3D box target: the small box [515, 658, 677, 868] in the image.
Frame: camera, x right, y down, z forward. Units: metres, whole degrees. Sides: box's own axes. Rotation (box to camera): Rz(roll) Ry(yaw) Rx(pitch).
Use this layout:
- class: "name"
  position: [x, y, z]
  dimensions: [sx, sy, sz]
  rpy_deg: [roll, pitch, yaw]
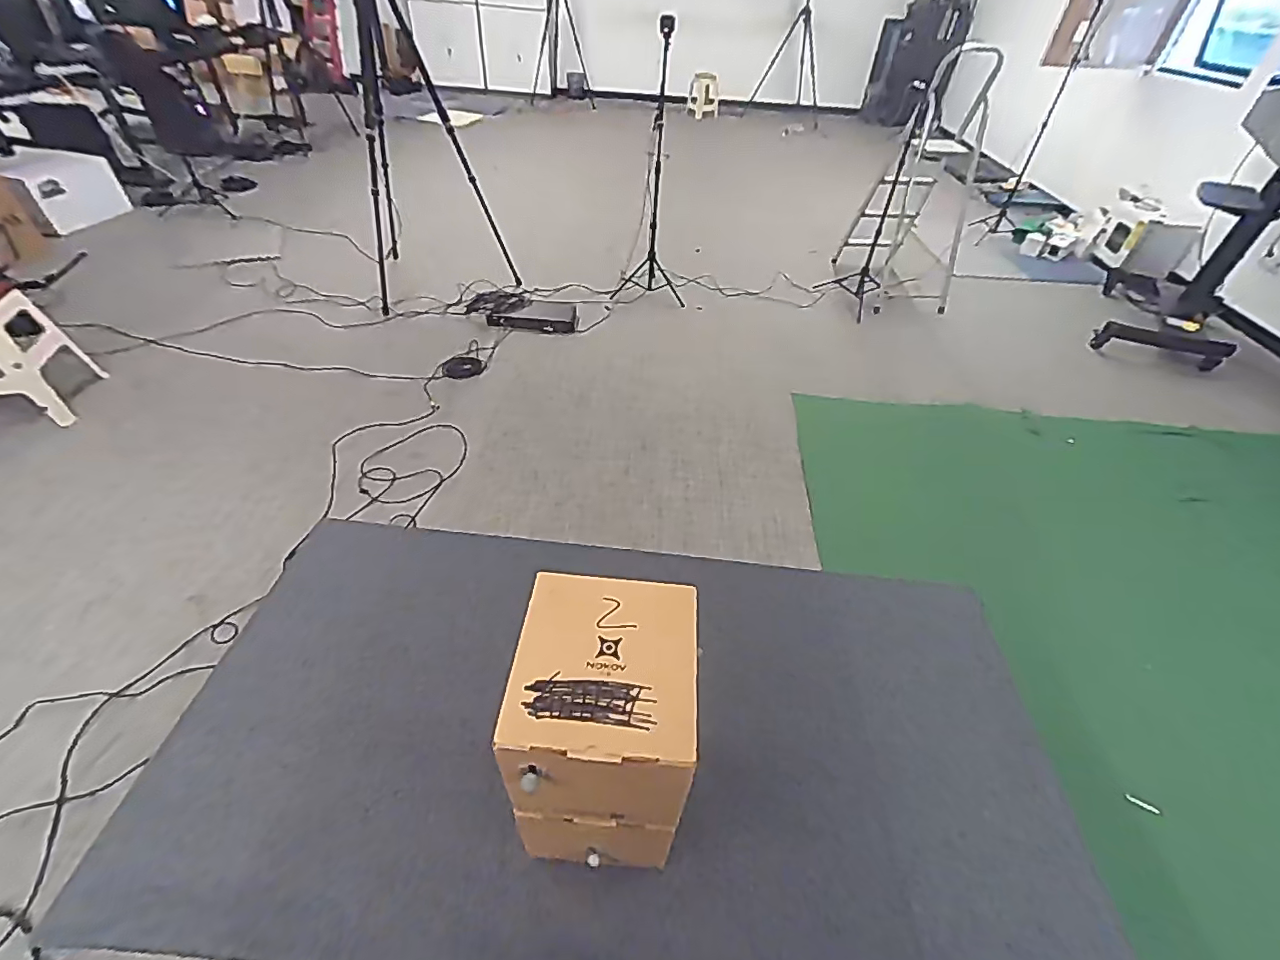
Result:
- class: "small box"
  position: [-0.047, 0.344, 0.660]
  dimensions: [0.168, 0.176, 0.179]
  rpy_deg: [5, 43, 0]
